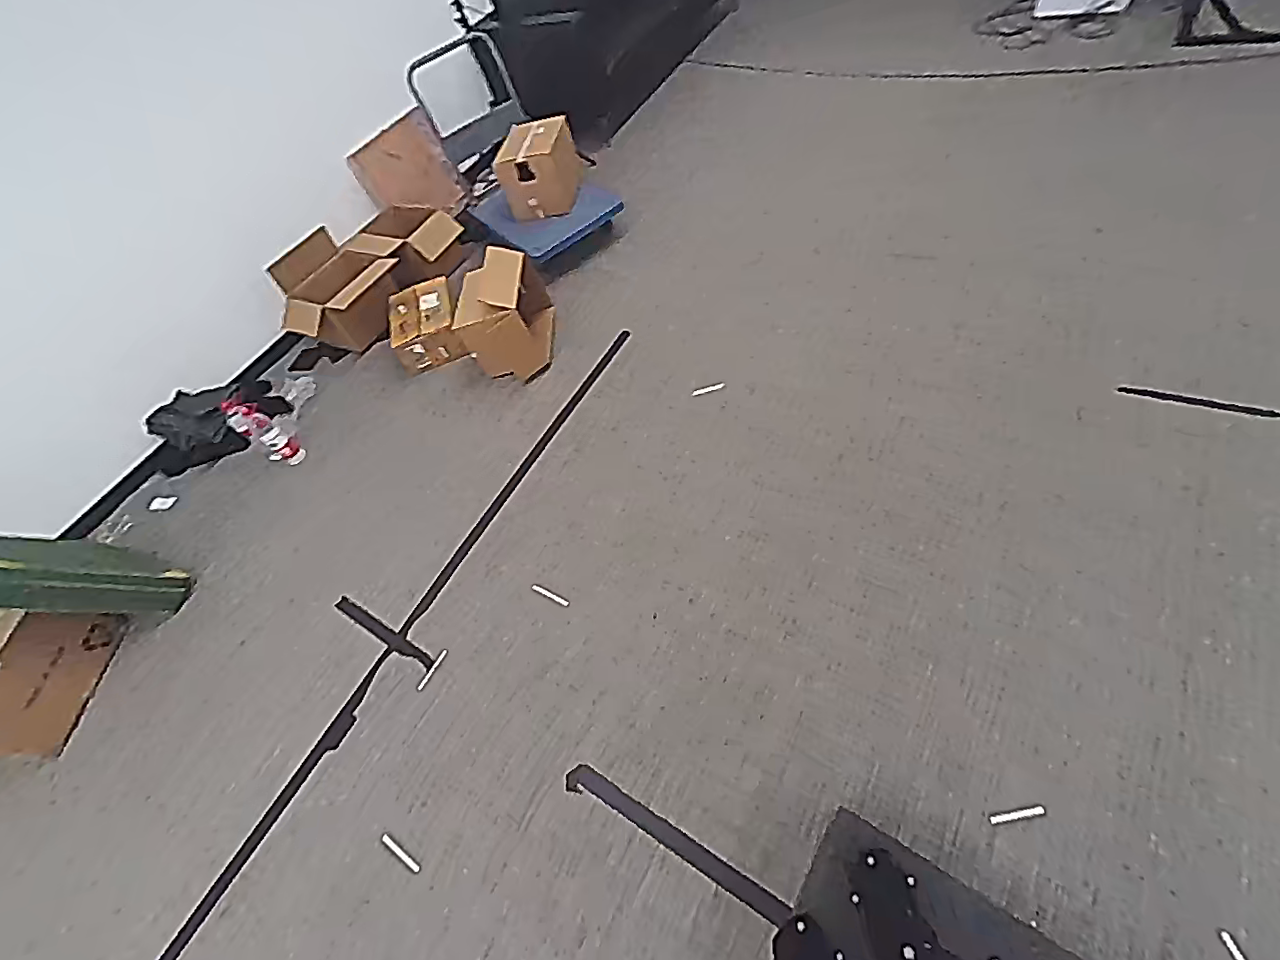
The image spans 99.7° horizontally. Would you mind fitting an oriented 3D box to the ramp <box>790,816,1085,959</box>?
[{"bbox_3d":[0.743,1.103,0.916,0.991,0.206,0.509,19,61,27],"label":"ramp"}]
